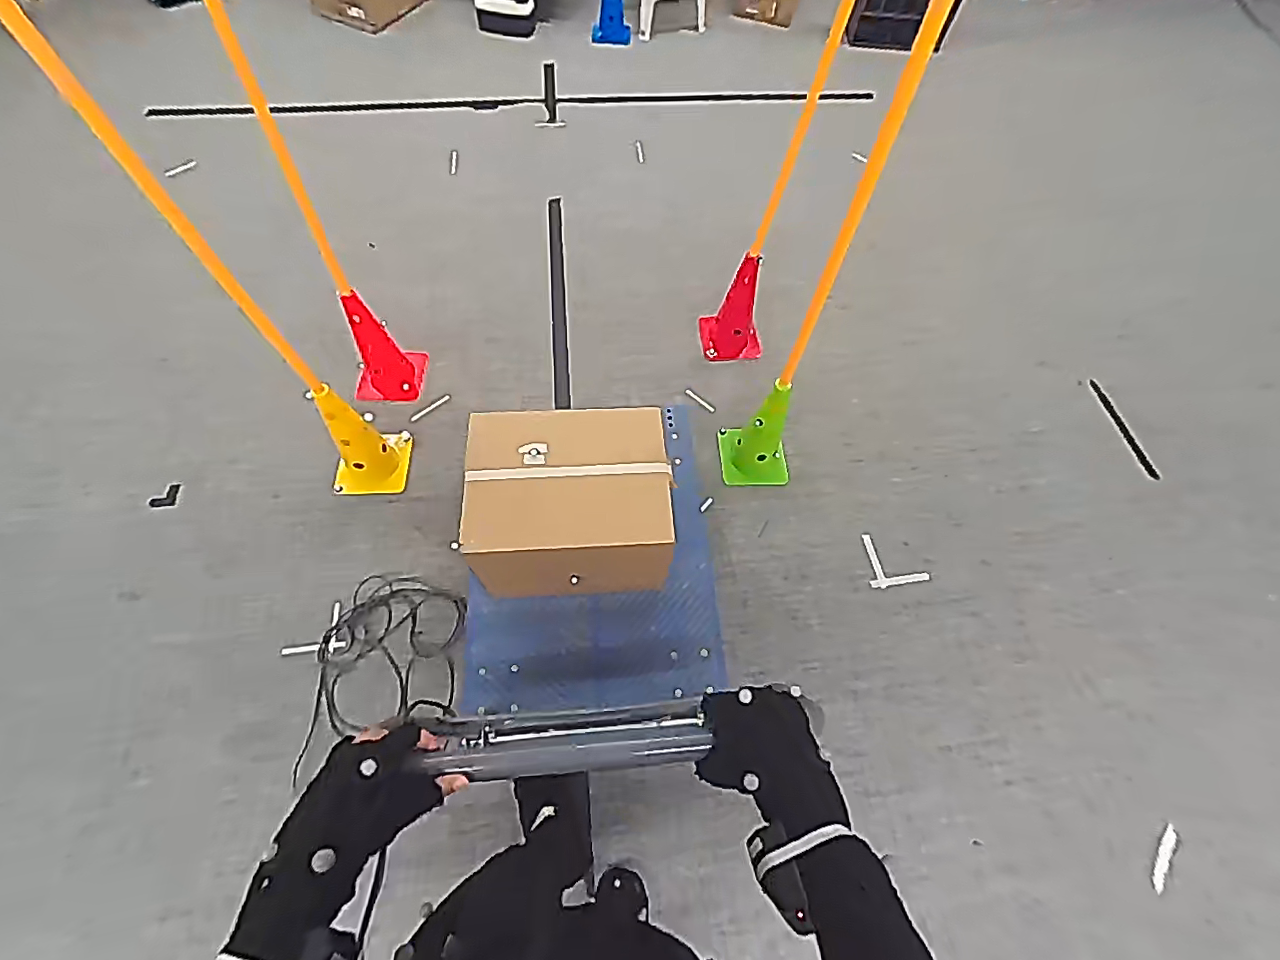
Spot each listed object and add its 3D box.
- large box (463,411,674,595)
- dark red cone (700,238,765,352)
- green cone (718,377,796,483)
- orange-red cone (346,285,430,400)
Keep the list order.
[{"bbox_3d":[-0.148,0.063,1.215,0.408,0.320,0.320,-2,62,-3],"label":"large box"},{"bbox_3d":[0.329,-0.595,1.734,0.201,0.394,0.202,-3,63,-7],"label":"dark red cone"},{"bbox_3d":[0.358,-0.159,1.523,0.202,0.368,0.200,0,62,-5],"label":"green cone"},{"bbox_3d":[-0.786,-0.430,1.608,0.198,0.360,0.199,3,61,-3],"label":"orange-red cone"}]
